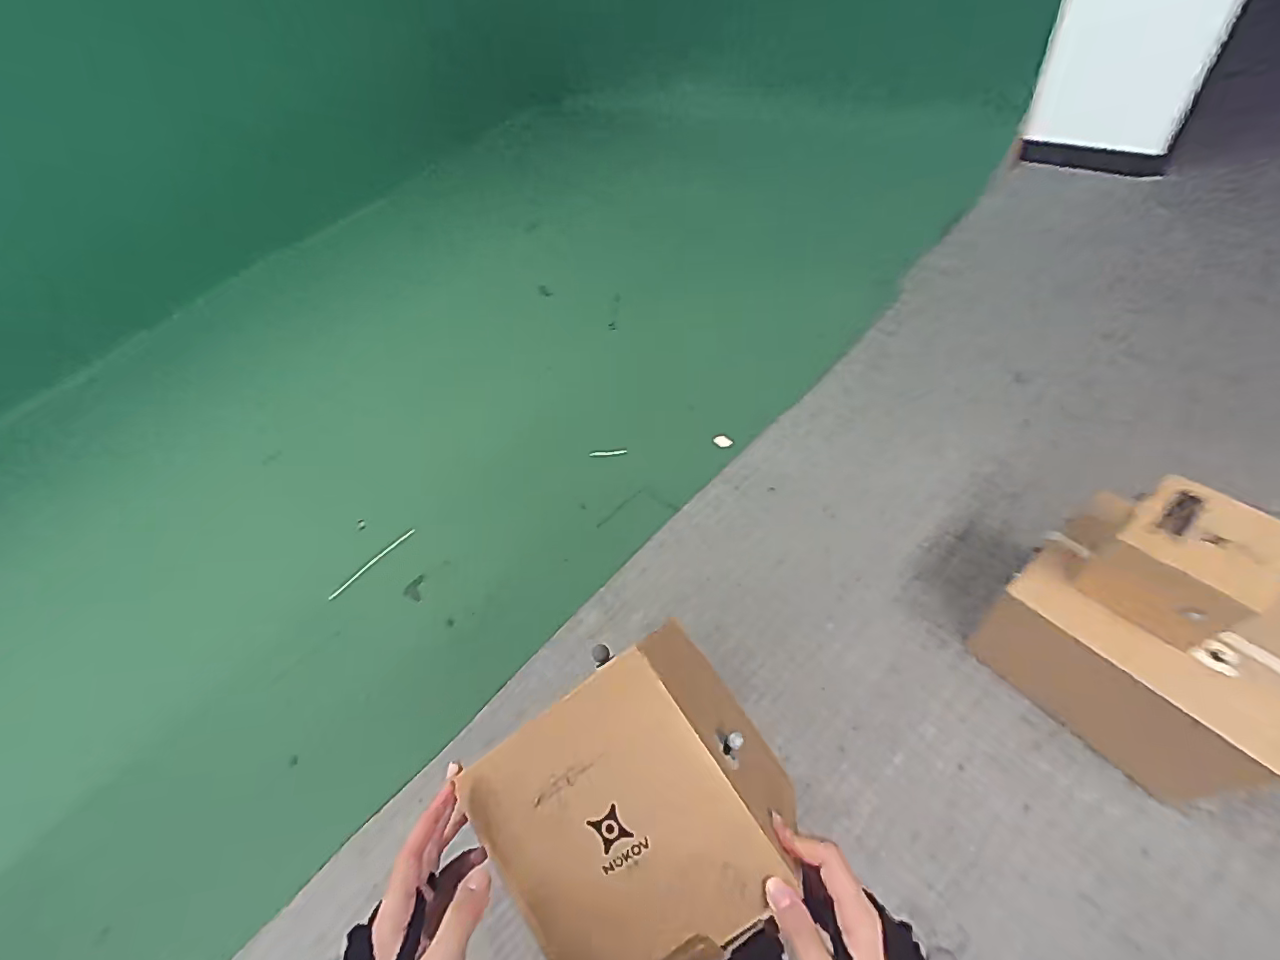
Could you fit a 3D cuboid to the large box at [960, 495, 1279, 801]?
[{"bbox_3d":[0.918,0.310,1.021,0.320,0.320,0.408,-39,55,-14],"label":"large box"}]
